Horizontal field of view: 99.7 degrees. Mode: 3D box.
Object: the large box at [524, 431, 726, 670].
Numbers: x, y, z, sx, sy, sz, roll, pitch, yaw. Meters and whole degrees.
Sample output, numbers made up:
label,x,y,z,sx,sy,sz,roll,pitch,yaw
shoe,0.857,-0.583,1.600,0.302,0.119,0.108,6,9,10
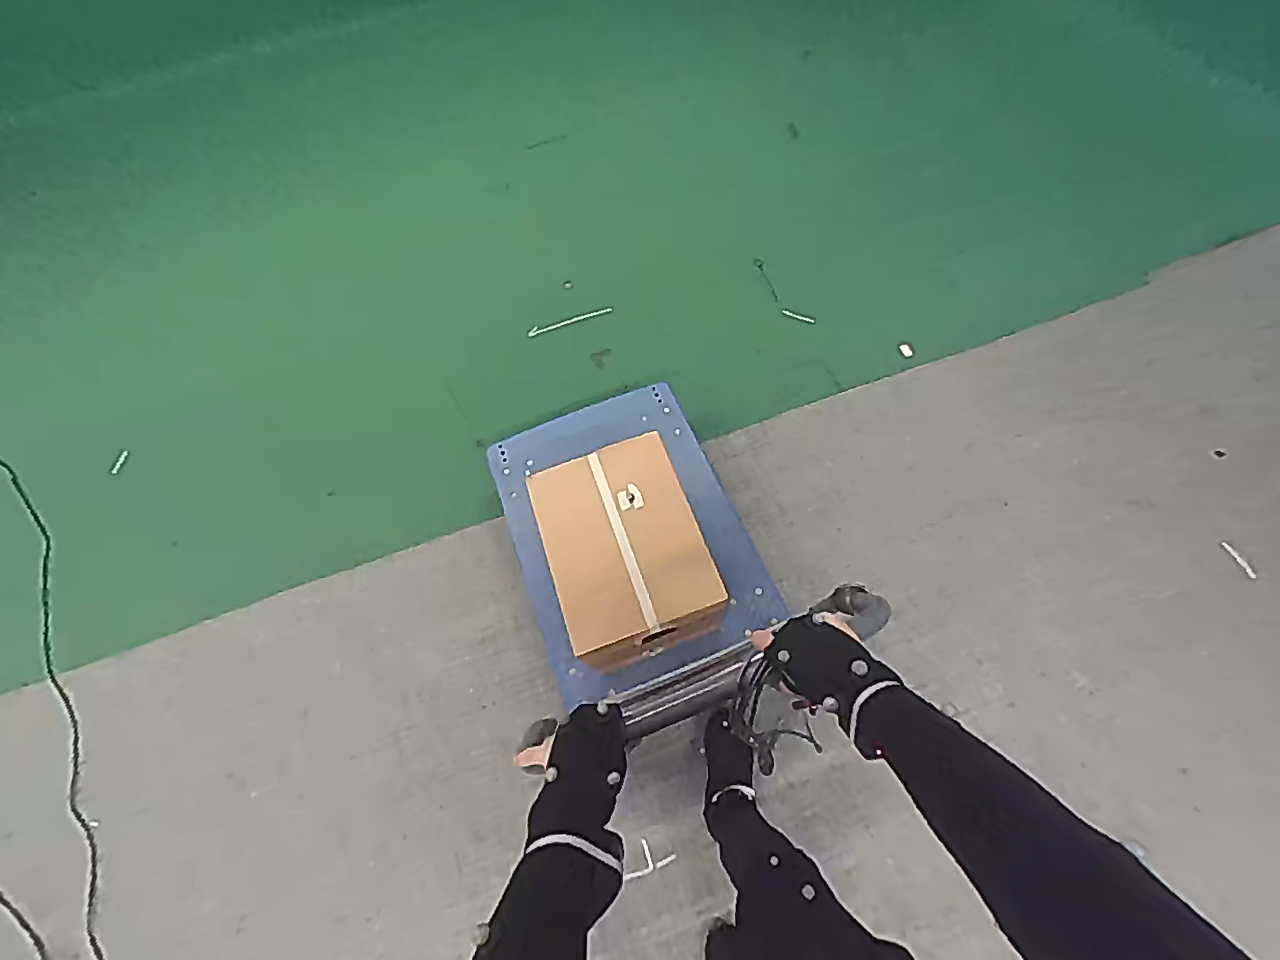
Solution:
label,x,y,z,sx,sy,sz,roll,pitch,yaw
large box,-0.029,0.171,1.231,0.320,0.320,0.408,-19,64,-4
